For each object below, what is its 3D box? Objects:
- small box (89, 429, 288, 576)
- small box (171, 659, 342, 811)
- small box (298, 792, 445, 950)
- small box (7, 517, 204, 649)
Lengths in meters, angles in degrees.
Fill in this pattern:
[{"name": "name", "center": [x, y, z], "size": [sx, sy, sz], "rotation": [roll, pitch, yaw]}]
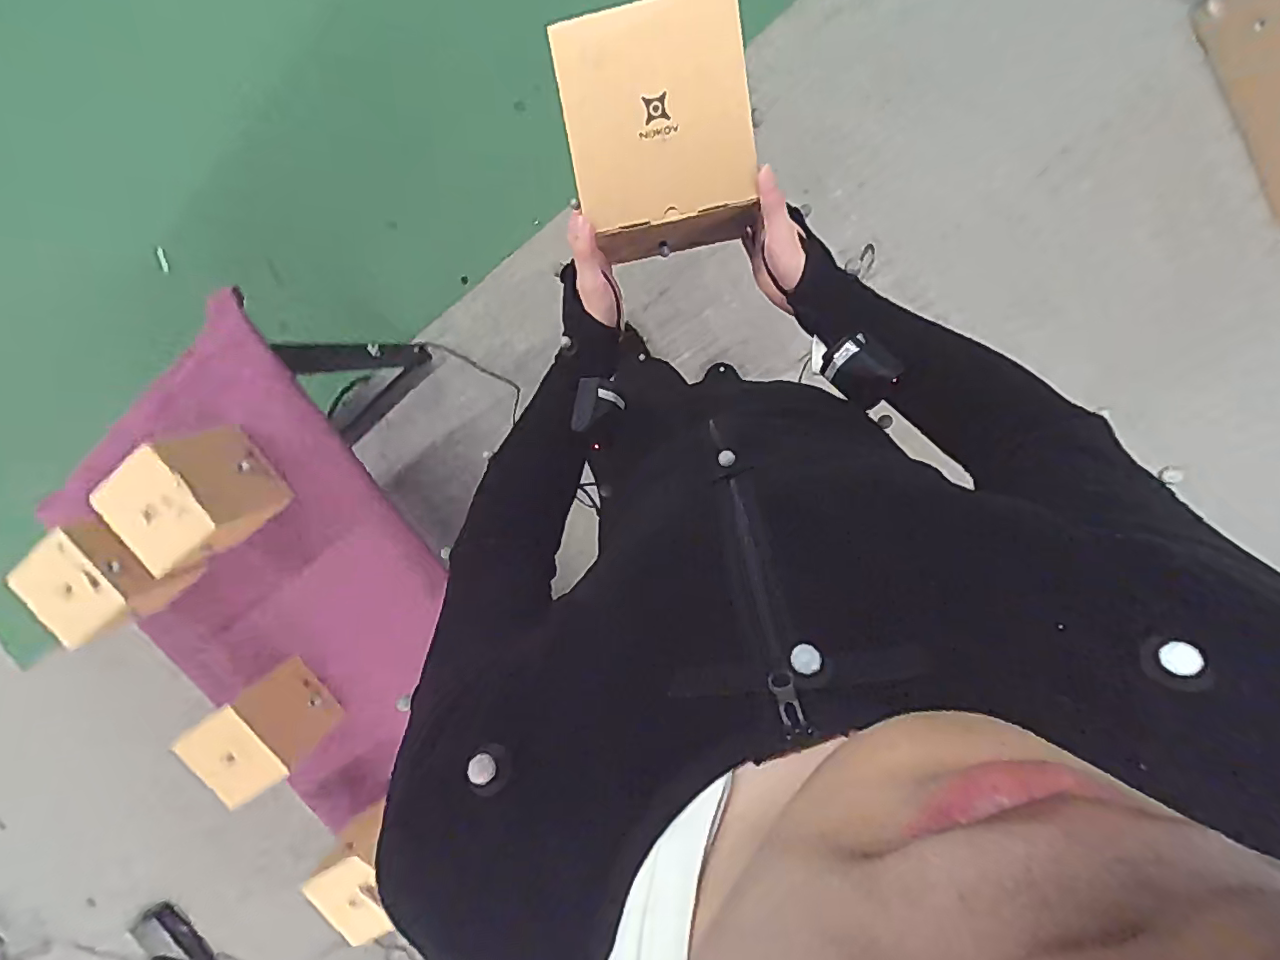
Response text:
[{"name": "small box", "center": [-0.770, 0.032, 0.941], "size": [0.179, 0.176, 0.168], "rotation": [-33, 98, 16]}, {"name": "small box", "center": [-0.732, 0.487, 1.051], "size": [0.179, 0.176, 0.168], "rotation": [-34, 97, 14]}, {"name": "small box", "center": [-0.523, 0.775, 1.088], "size": [0.179, 0.176, 0.168], "rotation": [-36, 96, 15]}, {"name": "small box", "center": [-0.981, 0.173, 1.008], "size": [0.179, 0.176, 0.168], "rotation": [-35, 97, 14]}]
